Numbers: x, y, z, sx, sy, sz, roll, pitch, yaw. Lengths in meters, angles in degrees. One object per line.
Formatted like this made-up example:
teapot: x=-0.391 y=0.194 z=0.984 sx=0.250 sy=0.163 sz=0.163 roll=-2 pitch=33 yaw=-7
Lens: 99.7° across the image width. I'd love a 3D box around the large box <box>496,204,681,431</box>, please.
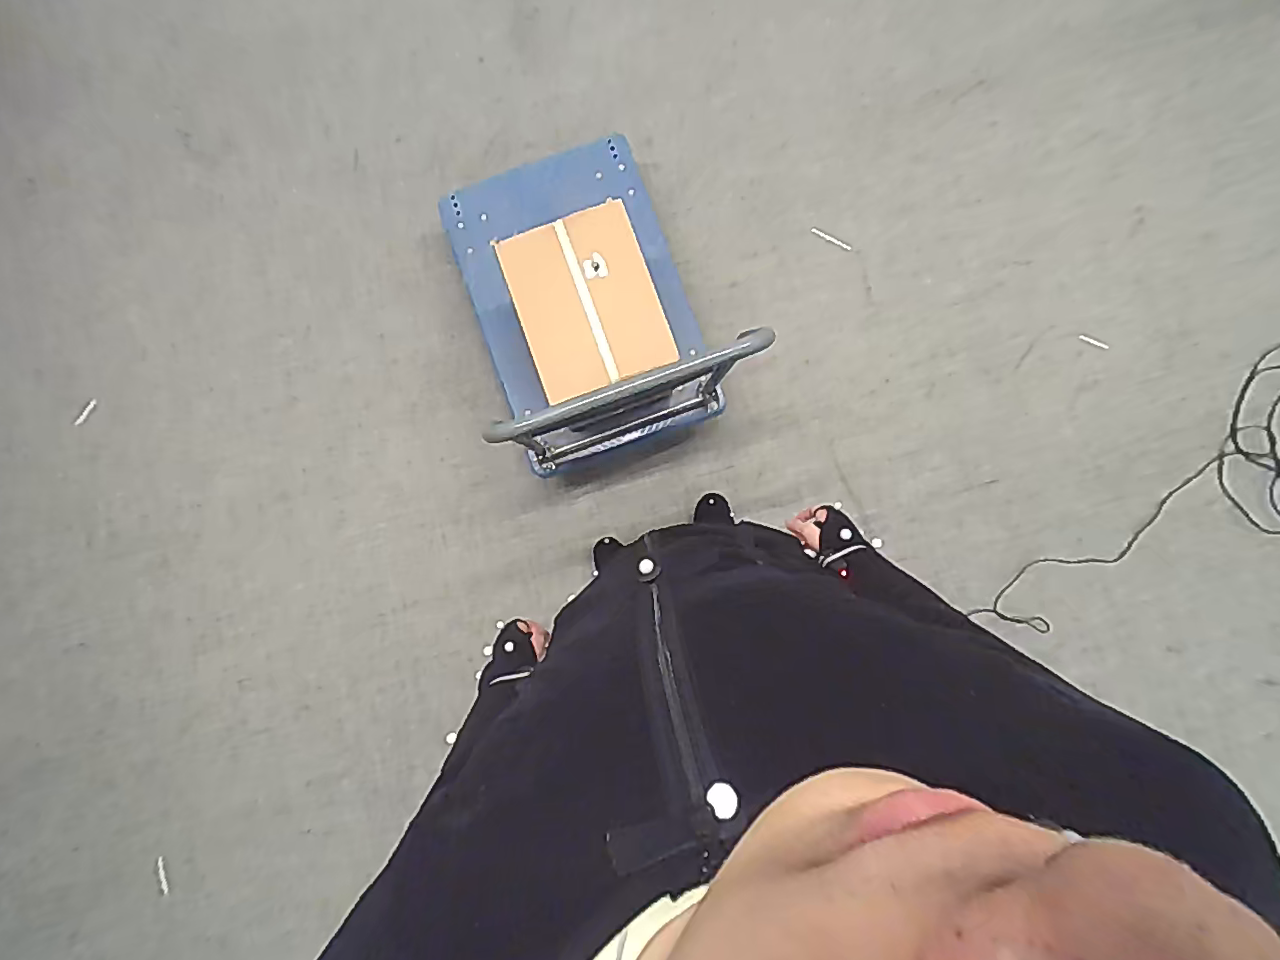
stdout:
large box: x=-0.113 y=-0.382 z=1.362 sx=0.320 sy=0.320 sz=0.408 roll=-20 pitch=85 yaw=-1
